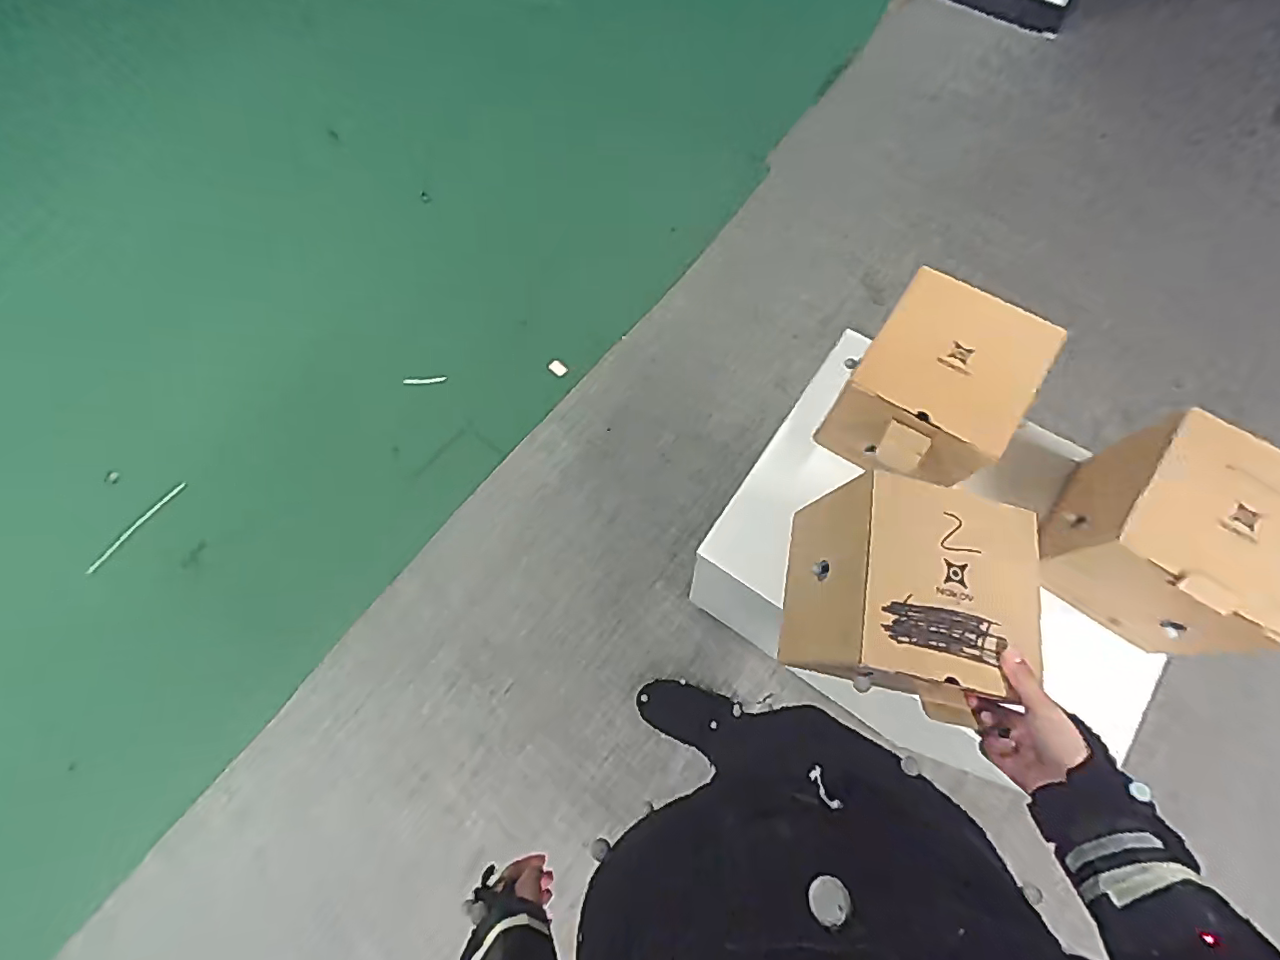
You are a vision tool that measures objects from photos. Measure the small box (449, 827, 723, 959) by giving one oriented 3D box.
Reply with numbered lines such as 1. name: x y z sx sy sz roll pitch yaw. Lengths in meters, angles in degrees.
1. small box: -0.050 0.381 0.360 0.168 0.179 0.176 25 117 -8

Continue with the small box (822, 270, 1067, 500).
1. small box: 0.343 -0.103 0.647 0.168 0.176 0.179 33 78 13
